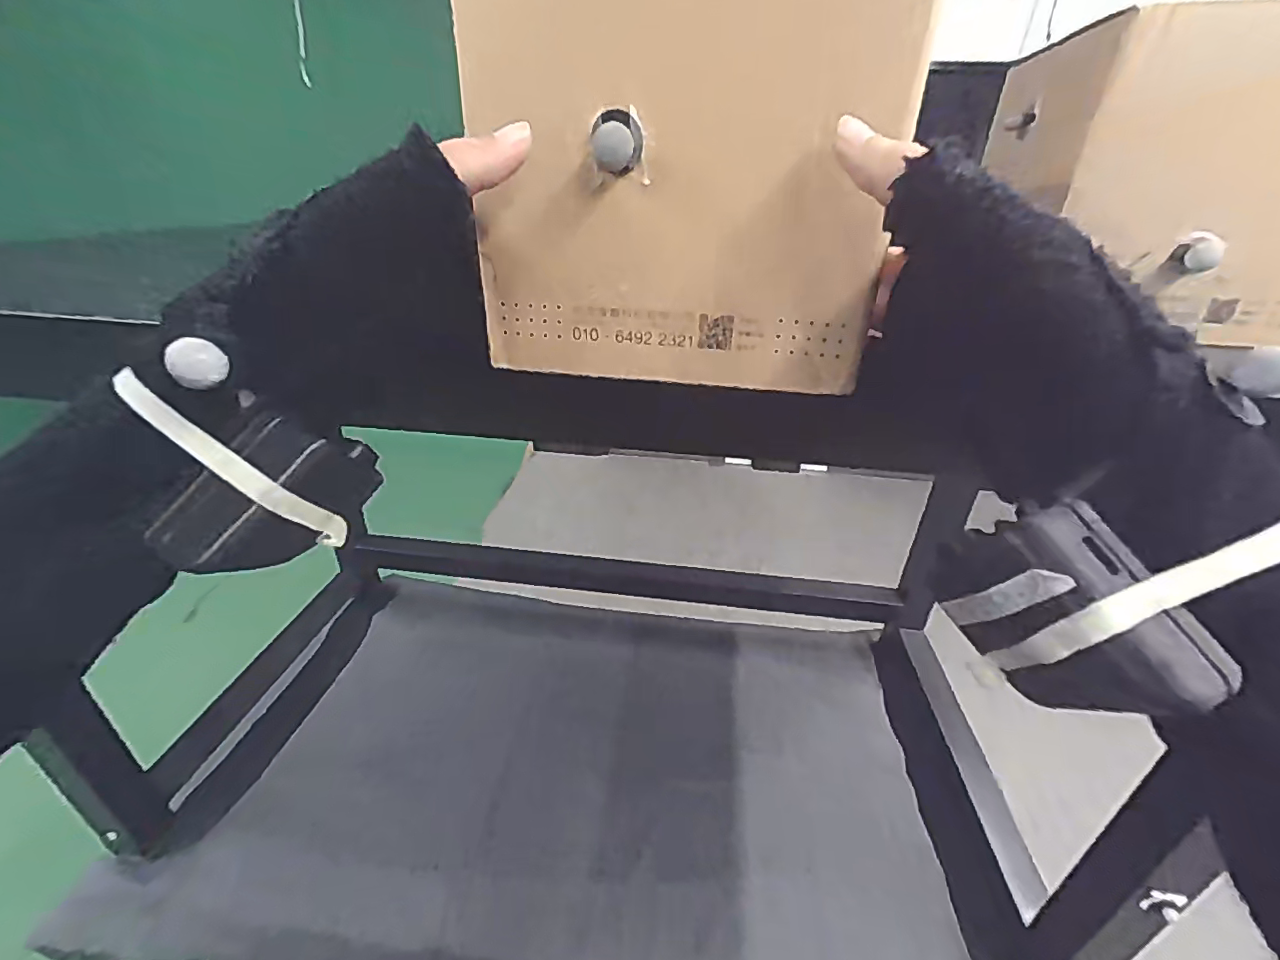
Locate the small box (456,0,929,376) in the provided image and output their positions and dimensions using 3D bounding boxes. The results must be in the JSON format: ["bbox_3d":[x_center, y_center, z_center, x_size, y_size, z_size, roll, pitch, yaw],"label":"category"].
[{"bbox_3d":[0.028,-0.159,0.274,0.168,0.176,0.179,6,29,7],"label":"small box"}]

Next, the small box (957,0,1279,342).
[{"bbox_3d":[0.343,-0.203,0.365,0.168,0.176,0.179,7,30,11],"label":"small box"}]
